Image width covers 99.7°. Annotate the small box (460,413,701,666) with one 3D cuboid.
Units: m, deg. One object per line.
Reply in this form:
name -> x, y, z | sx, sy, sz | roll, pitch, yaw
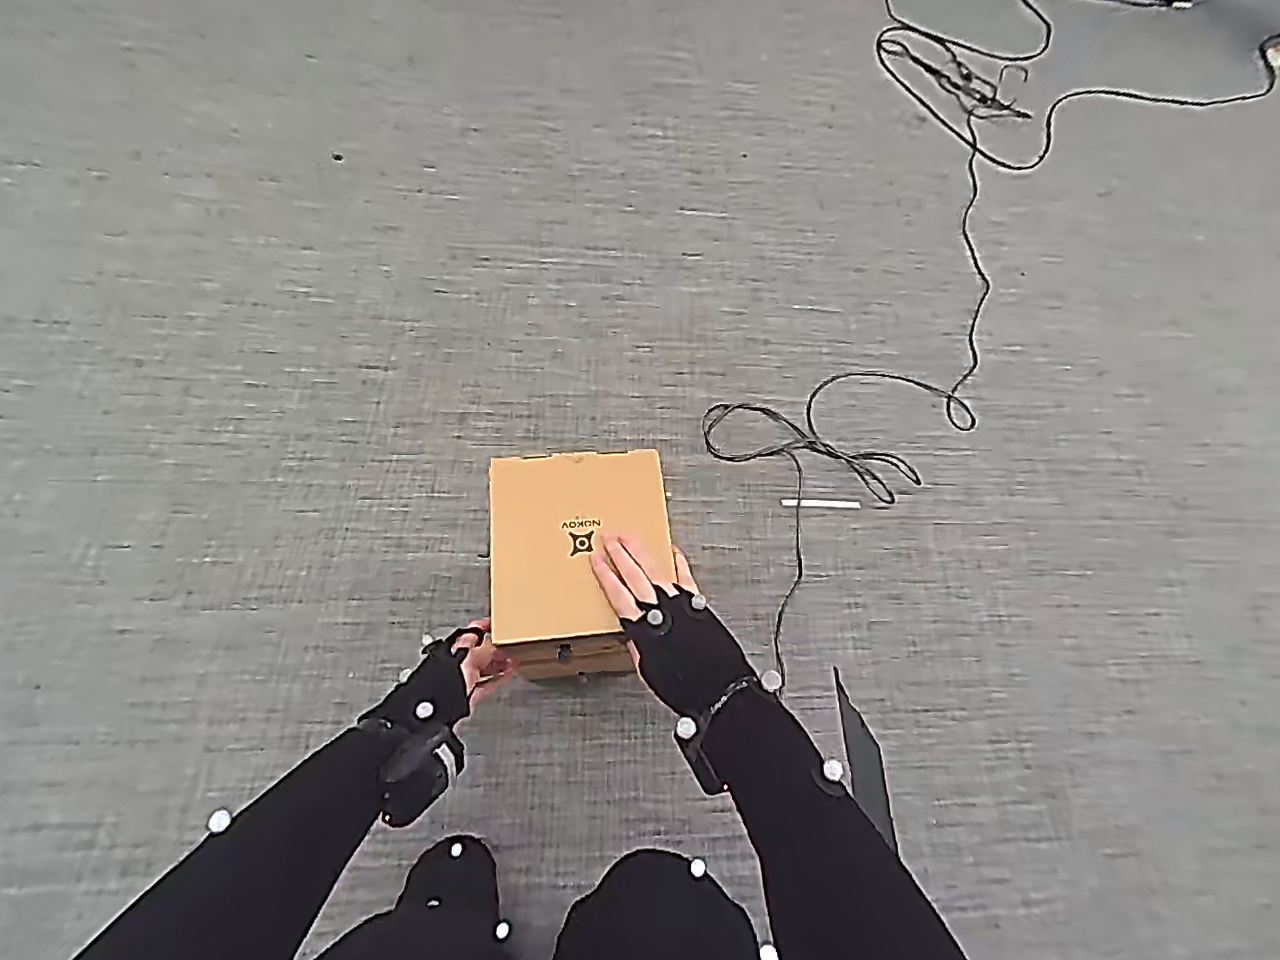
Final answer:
small box -> -0.054, 0.057, 0.535 | 0.179, 0.176, 0.168 | -16, 48, 5
